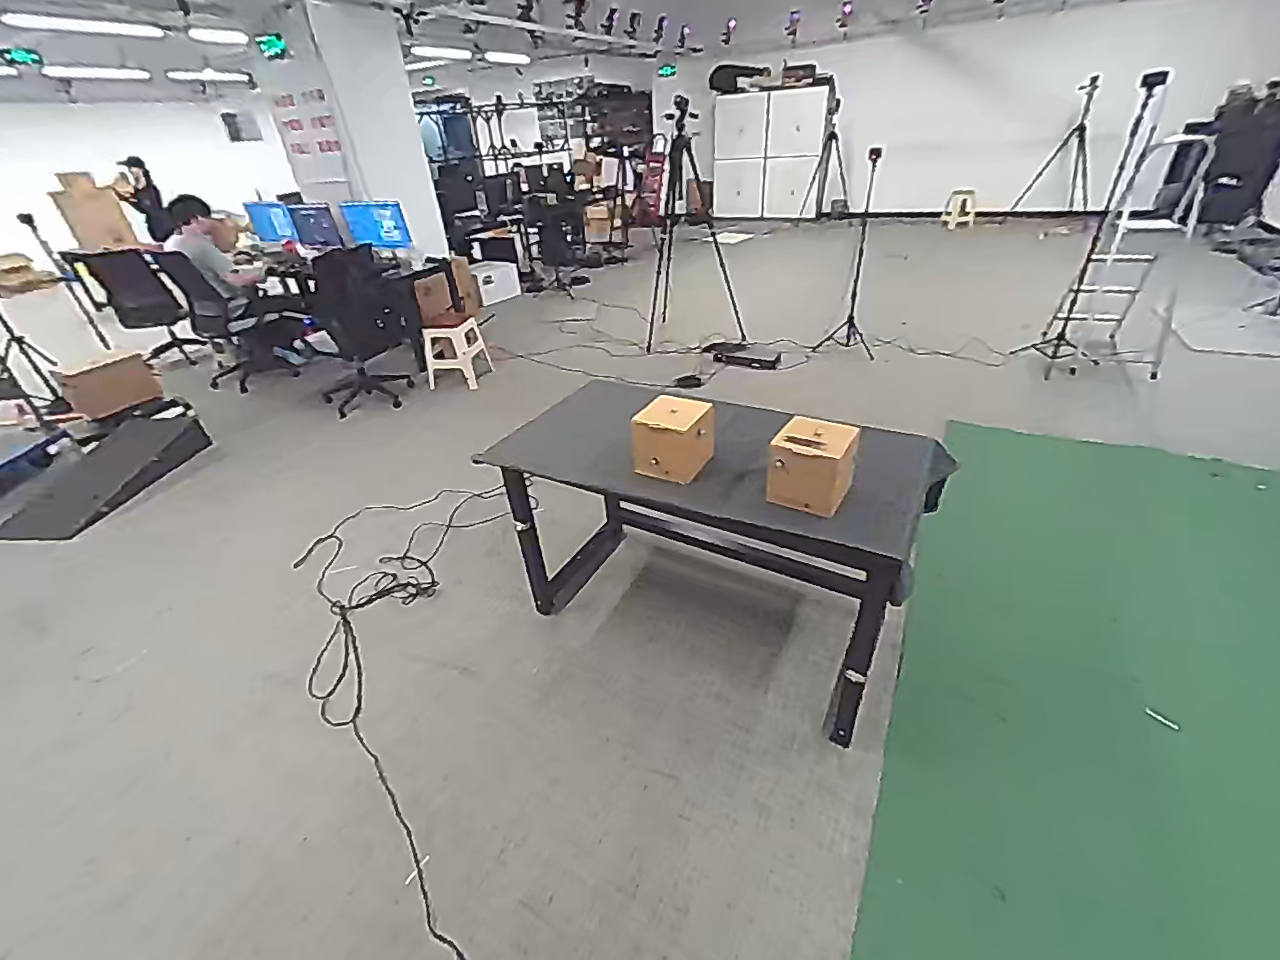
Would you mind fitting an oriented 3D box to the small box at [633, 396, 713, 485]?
[{"bbox_3d":[0.092,-0.111,1.508,0.168,0.176,0.179,16,38,26],"label":"small box"}]
